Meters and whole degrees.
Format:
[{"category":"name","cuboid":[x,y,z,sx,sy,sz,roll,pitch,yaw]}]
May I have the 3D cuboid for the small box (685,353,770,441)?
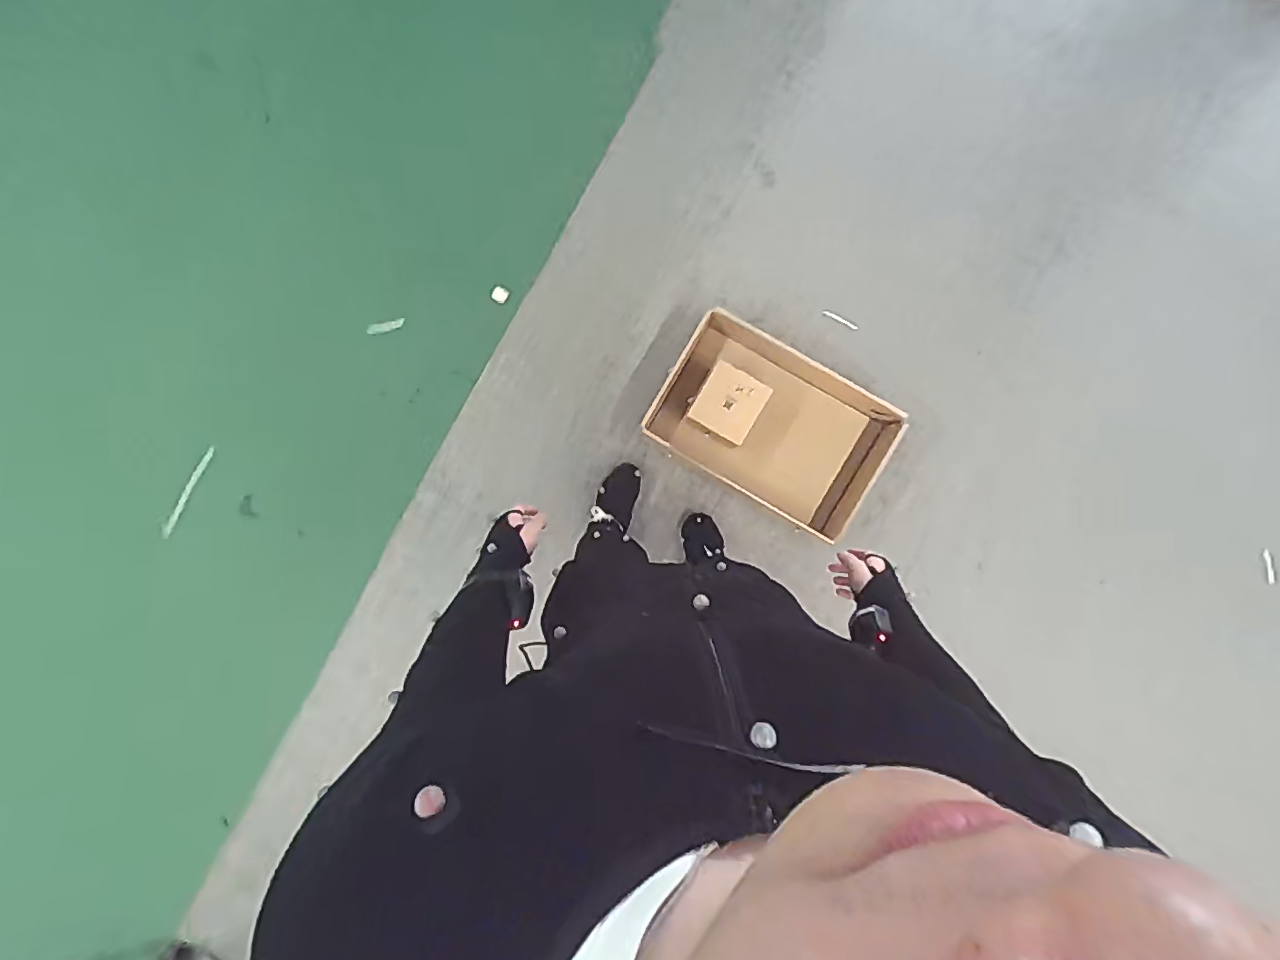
[{"category":"small box","cuboid":[0.236,-0.221,1.505,0.168,0.176,0.179,31,91,1]}]
